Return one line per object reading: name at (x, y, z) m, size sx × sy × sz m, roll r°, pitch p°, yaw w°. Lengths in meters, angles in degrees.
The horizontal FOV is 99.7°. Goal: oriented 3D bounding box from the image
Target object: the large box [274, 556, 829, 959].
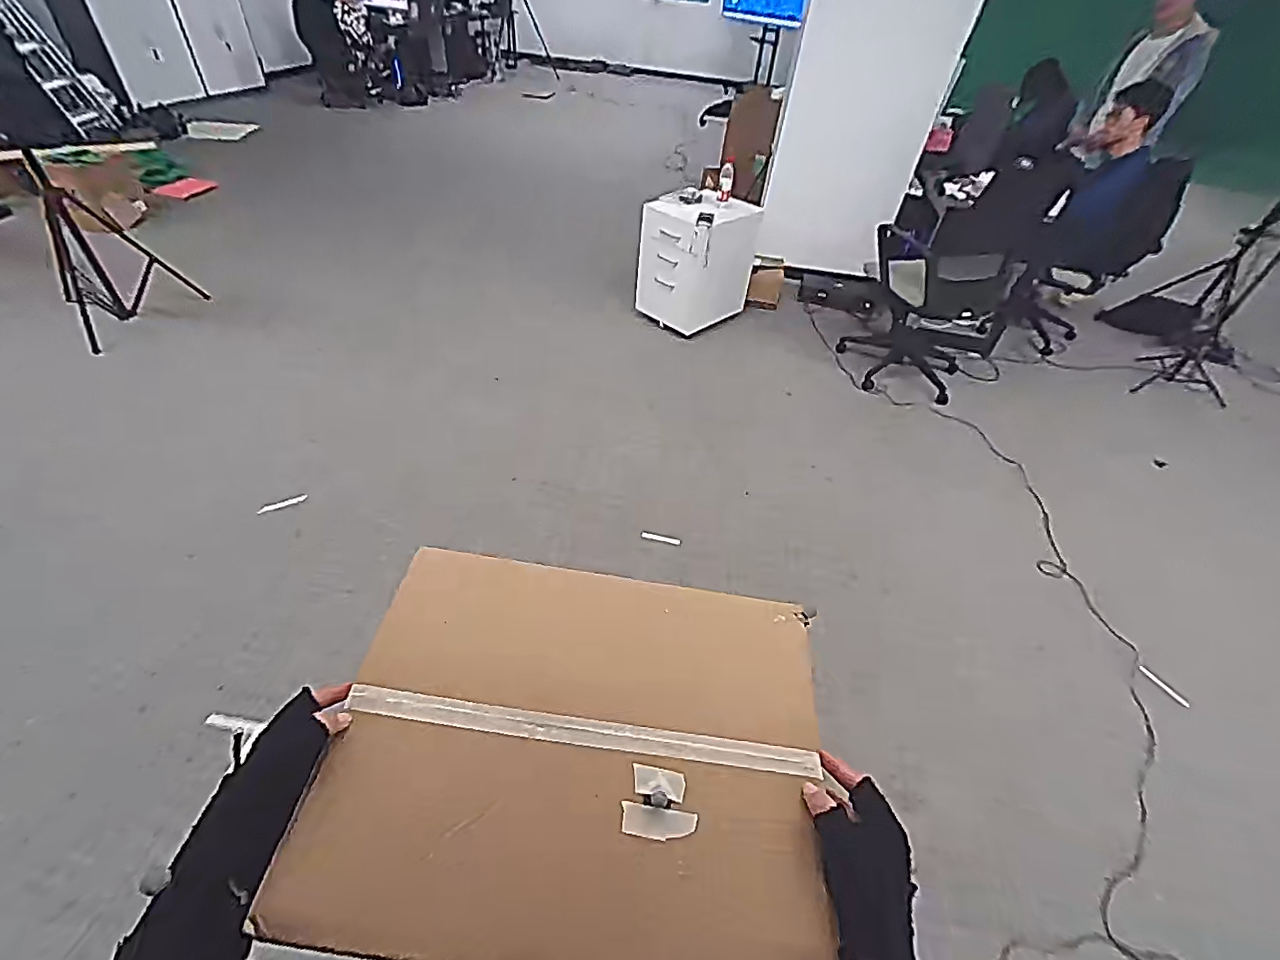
large box at (-0.065, 0.319, 0.586) m, size 0.408 × 0.320 × 0.320 m, roll 9°, pitch 48°, yaw -1°
